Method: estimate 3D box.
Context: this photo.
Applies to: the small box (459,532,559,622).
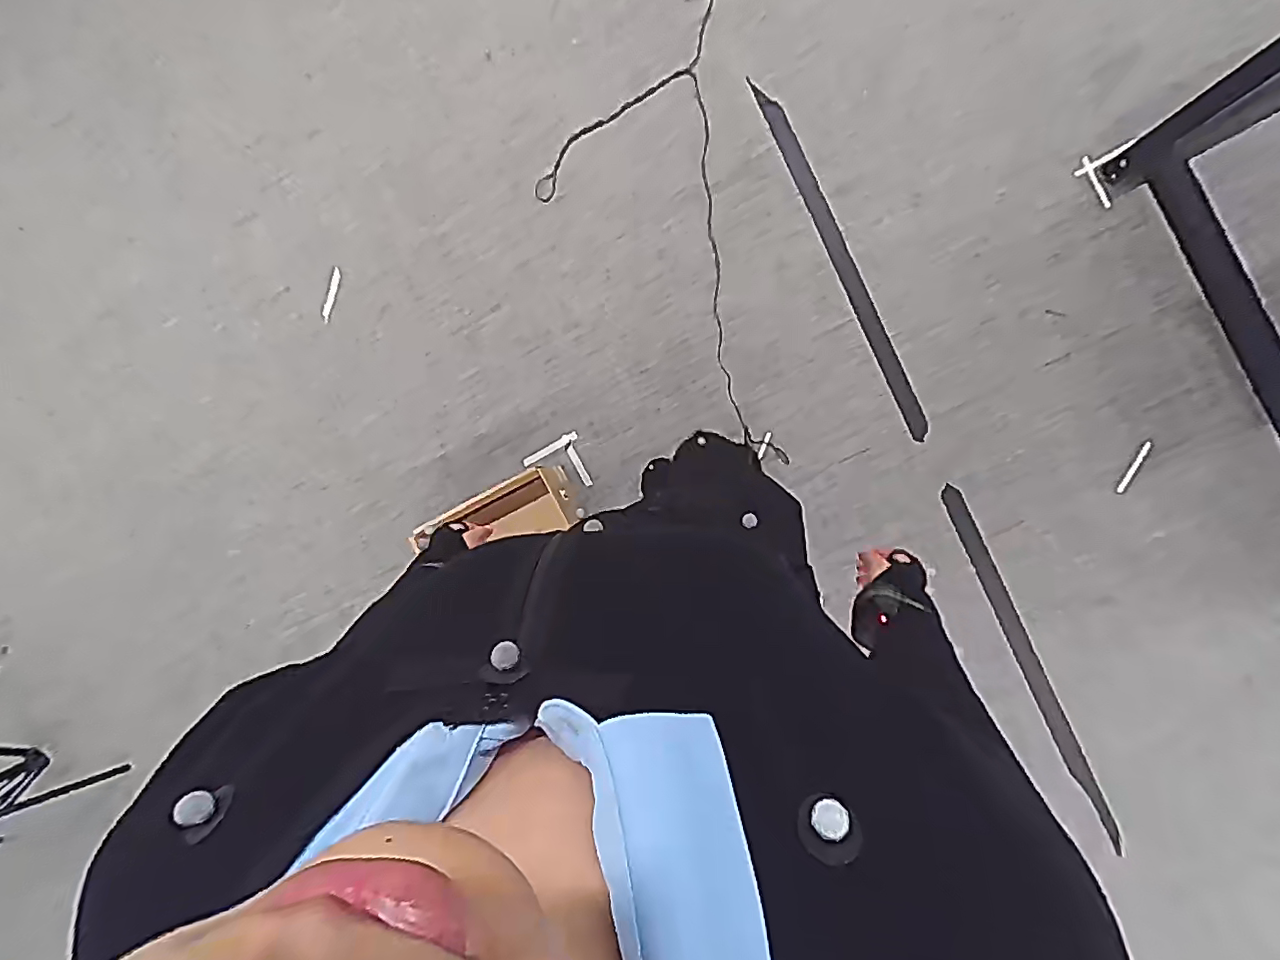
[{"bbox_3d":[-0.338,0.248,1.422,0.179,0.176,0.168,-22,91,7],"label":"small box"}]
